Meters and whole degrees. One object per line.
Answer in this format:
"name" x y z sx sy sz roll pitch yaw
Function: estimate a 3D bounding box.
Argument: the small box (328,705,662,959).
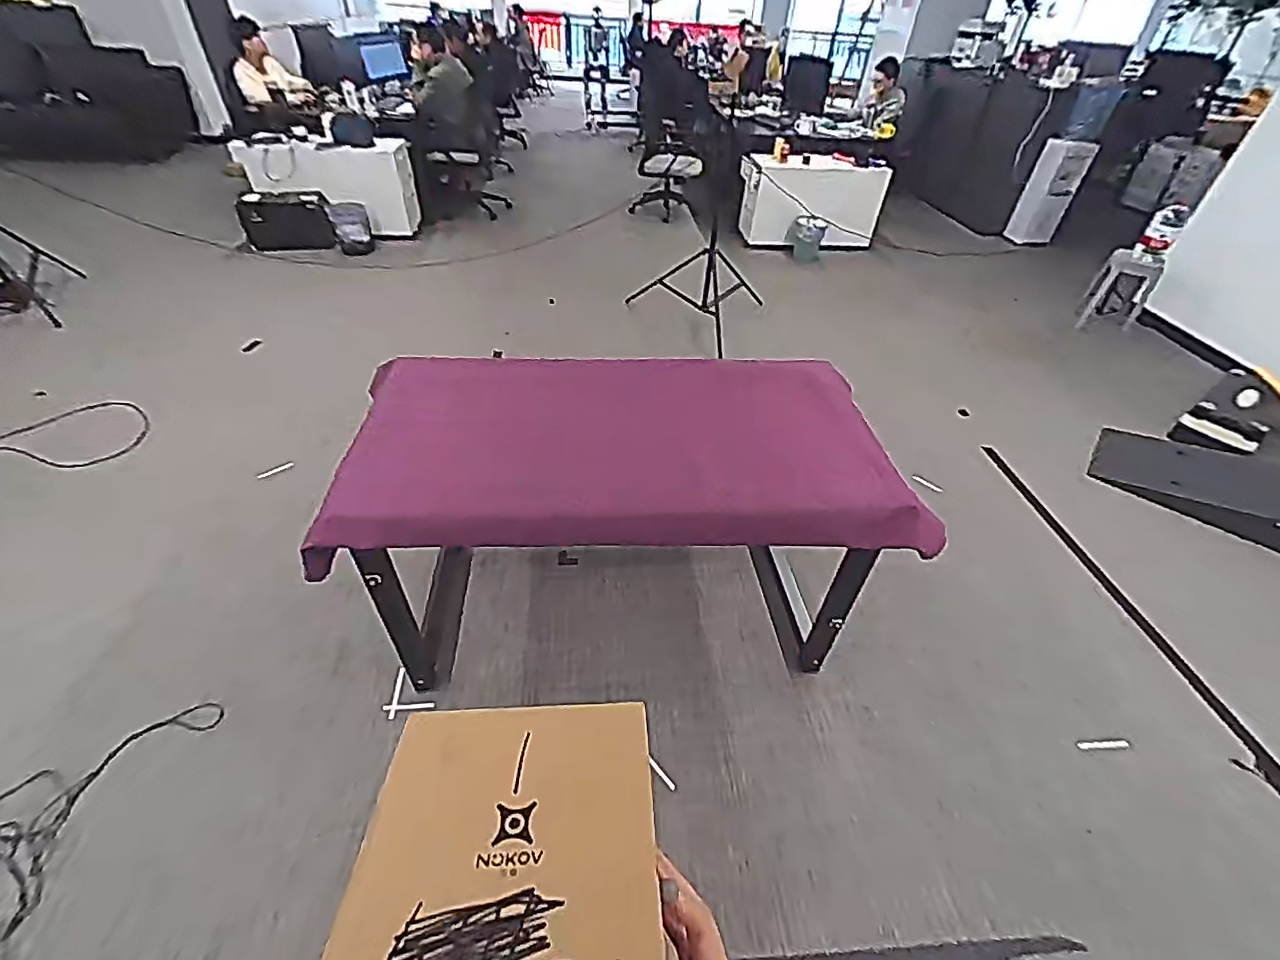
"small box" -0.071 0.275 0.347 0.168 0.176 0.179 -1 29 -3
